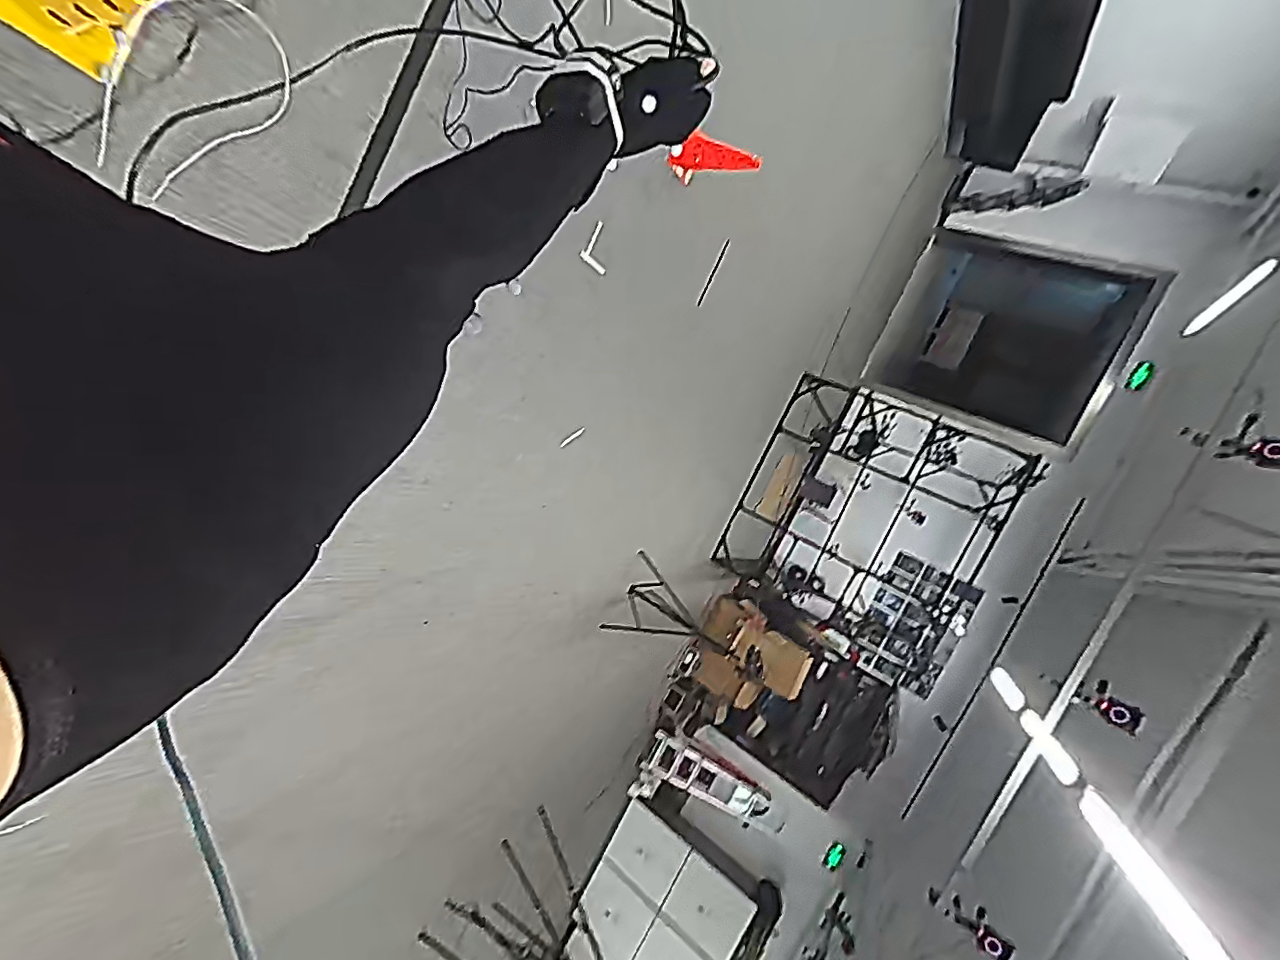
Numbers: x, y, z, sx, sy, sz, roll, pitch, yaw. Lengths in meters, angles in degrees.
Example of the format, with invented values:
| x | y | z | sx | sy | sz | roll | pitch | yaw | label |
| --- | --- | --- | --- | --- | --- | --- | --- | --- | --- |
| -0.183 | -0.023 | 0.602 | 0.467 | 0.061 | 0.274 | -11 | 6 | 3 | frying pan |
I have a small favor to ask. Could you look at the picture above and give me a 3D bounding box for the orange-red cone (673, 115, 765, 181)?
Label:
| x | y | z | sx | sy | sz | roll | pitch | yaw | label |
| --- | --- | --- | --- | --- | --- | --- | --- | --- | --- |
| 0.348 | -1.347 | 2.233 | 0.198 | 0.360 | 0.199 | 8 | 107 | -63 | orange-red cone |
